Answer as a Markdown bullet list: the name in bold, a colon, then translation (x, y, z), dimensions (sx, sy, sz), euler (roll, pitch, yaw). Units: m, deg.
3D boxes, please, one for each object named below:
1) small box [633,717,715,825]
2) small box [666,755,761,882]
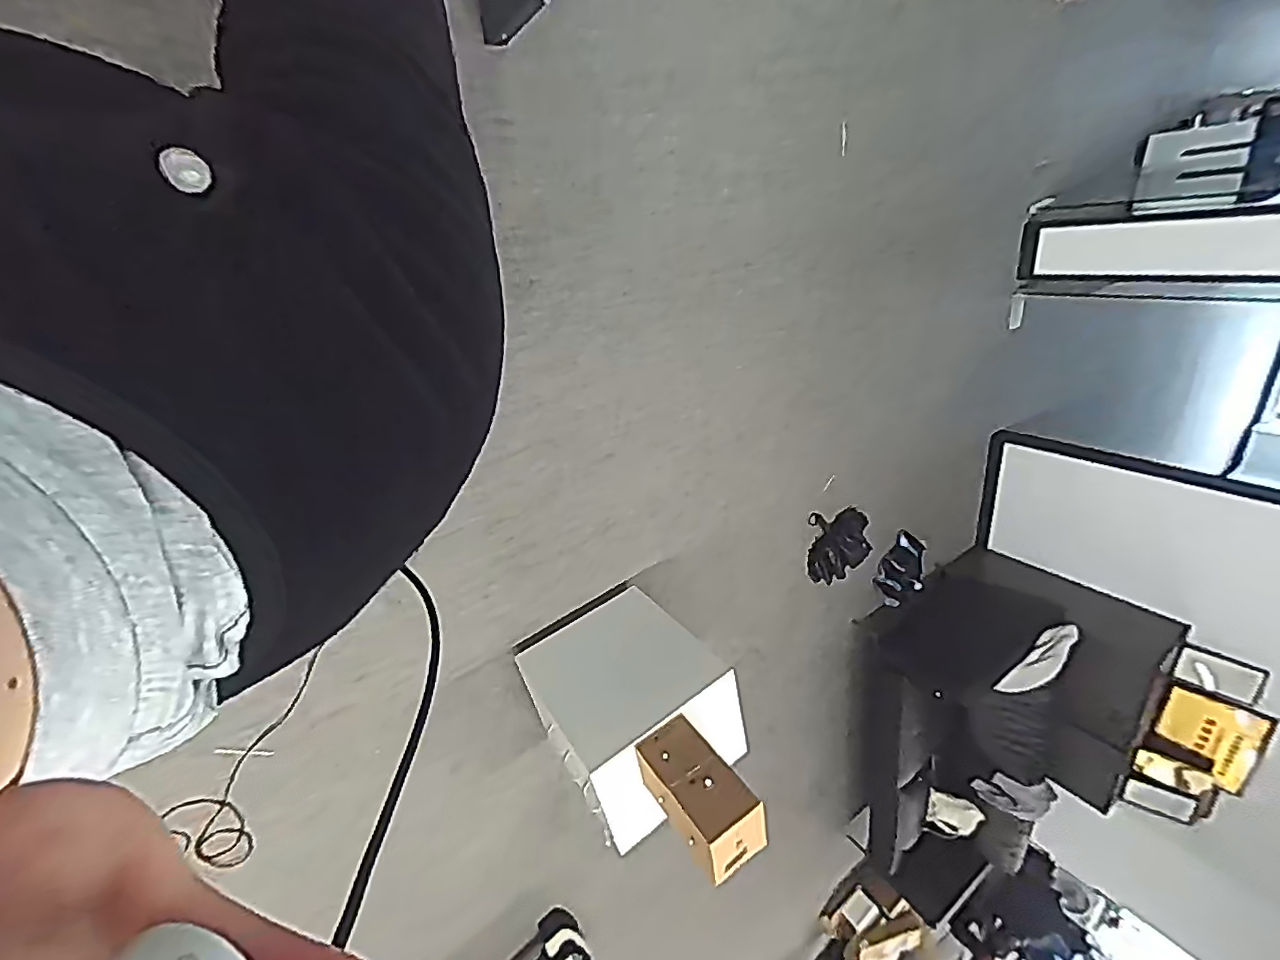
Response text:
- **small box**: translation (0.097, 0.788, 1.488), dimensions (0.168, 0.176, 0.179), euler (-24, 122, -24)
- **small box**: translation (0.185, 0.842, 1.361), dimensions (0.168, 0.176, 0.179), euler (-24, 120, -25)
